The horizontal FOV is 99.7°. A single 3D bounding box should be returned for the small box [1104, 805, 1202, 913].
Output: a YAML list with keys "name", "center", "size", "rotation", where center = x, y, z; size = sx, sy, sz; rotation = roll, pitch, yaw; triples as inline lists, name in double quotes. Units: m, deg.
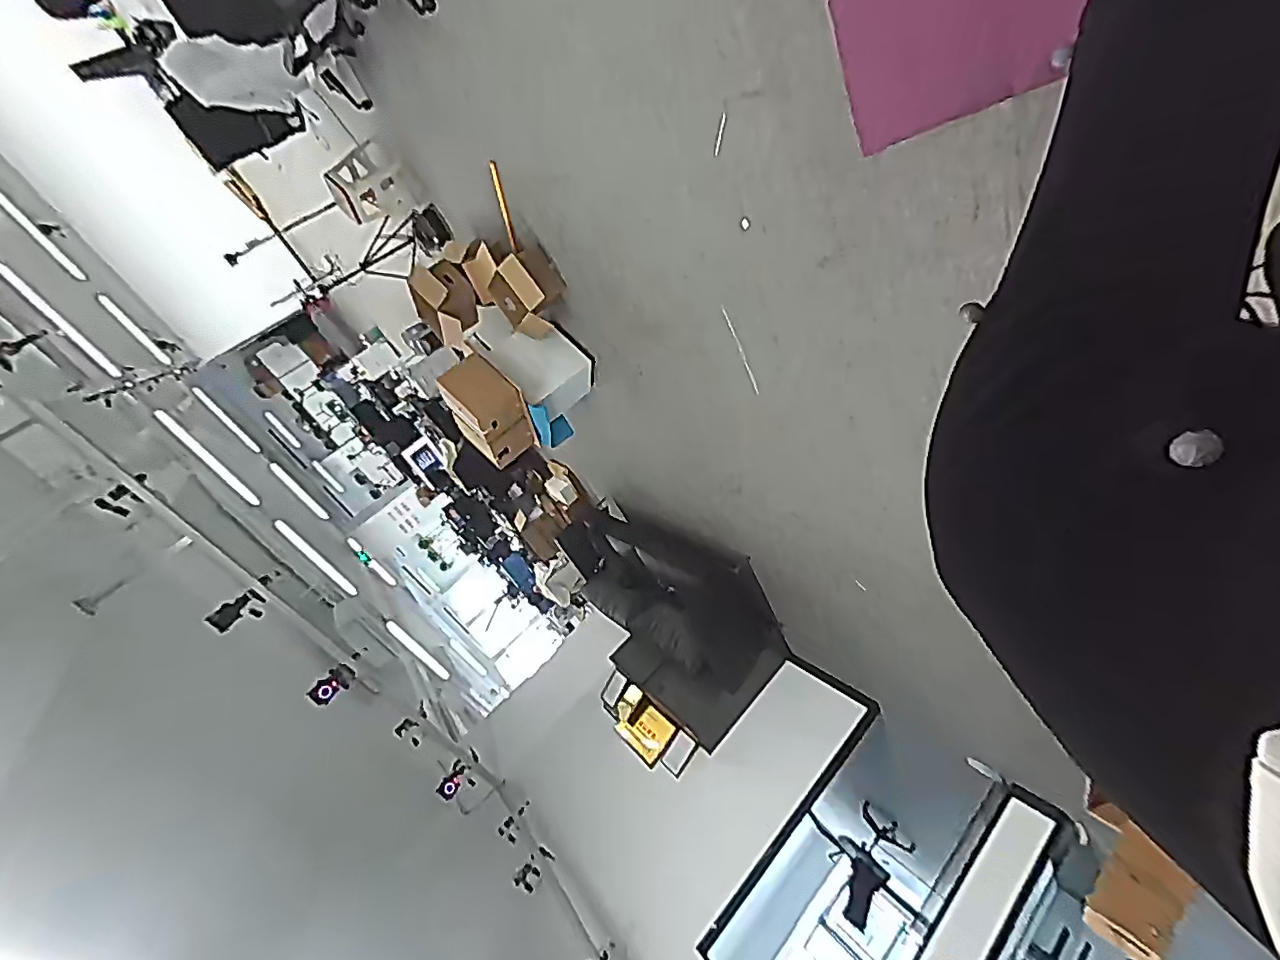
- name: "small box"
  center: [1.520, 1.120, 1.605]
  size: [0.168, 0.176, 0.179]
  rotation: [23, 147, 51]
